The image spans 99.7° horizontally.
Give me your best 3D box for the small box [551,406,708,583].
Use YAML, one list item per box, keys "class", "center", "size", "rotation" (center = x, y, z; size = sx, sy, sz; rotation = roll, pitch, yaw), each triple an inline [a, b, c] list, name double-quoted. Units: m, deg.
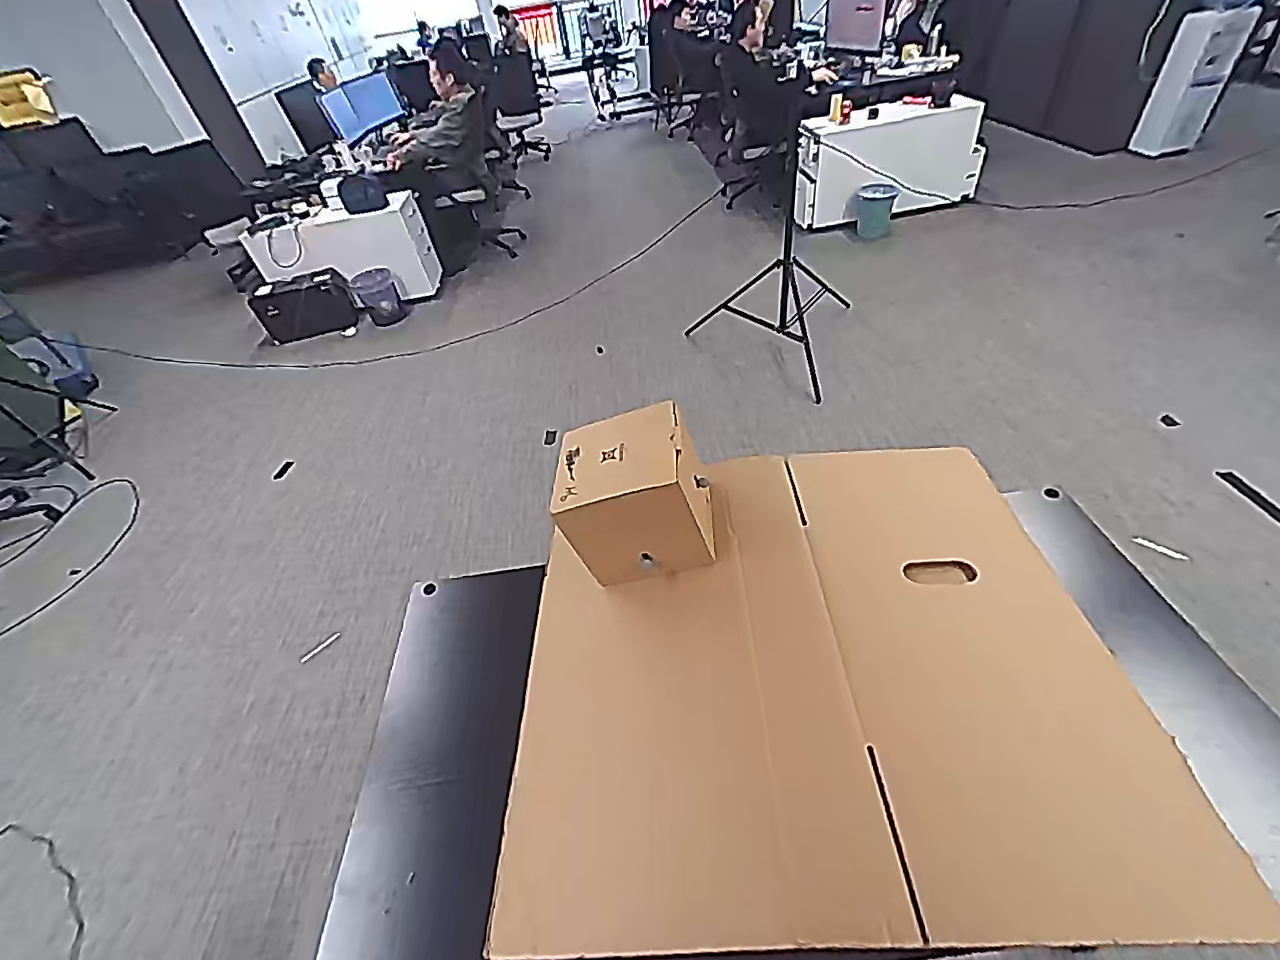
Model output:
- class: "small box"
  center: [-0.004, 0.026, 0.778]
  size: [0.179, 0.176, 0.168]
  rotation: [-14, 41, 14]
